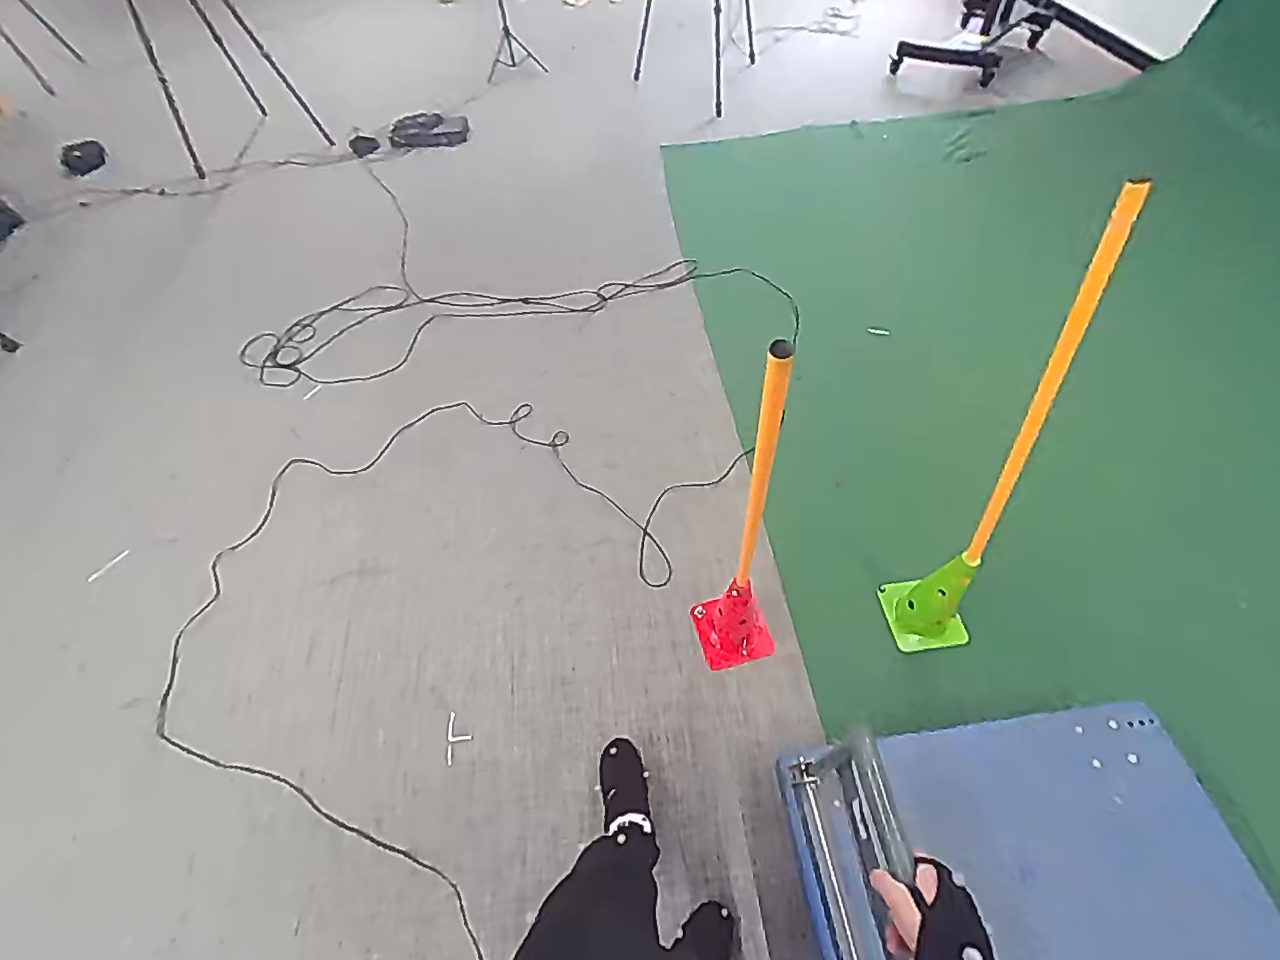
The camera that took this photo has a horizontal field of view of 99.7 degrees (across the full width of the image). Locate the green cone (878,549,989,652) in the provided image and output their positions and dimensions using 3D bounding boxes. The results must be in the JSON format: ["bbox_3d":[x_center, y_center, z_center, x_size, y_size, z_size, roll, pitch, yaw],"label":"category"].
[{"bbox_3d":[0.796,0.285,1.401,0.202,0.368,0.200,-7,55,-2],"label":"green cone"}]
